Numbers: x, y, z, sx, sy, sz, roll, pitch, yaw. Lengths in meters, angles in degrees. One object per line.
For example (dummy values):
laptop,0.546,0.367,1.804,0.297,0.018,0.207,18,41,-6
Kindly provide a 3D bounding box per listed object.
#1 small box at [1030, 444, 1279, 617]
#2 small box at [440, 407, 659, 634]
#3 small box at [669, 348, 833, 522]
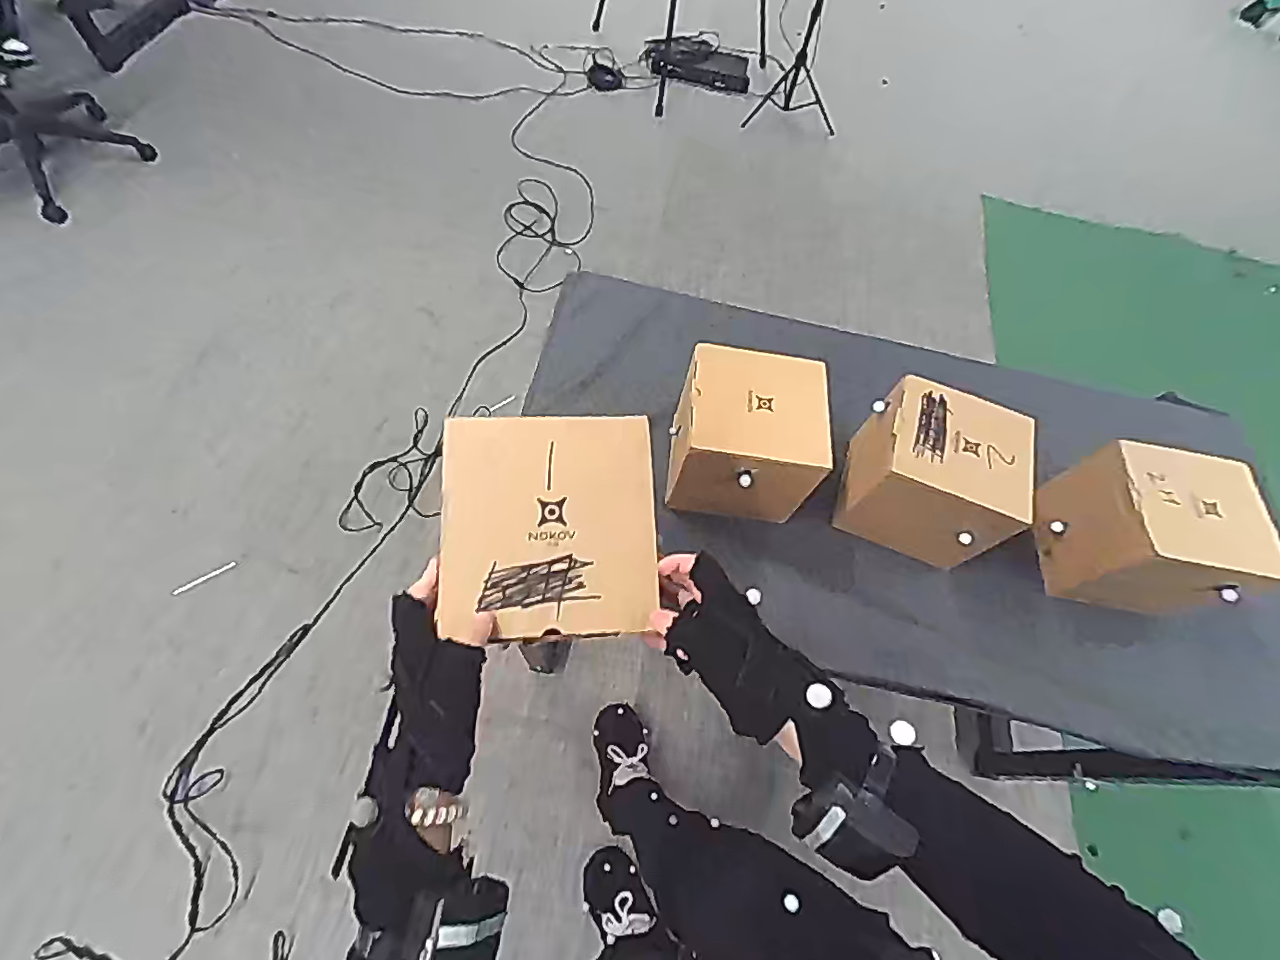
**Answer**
small box,0.681,0.077,0.731,0.179,0.176,0.168,11,61,0
small box,-0.077,0.044,0.497,0.168,0.176,0.179,-1,76,-8
small box,0.144,-0.053,0.744,0.179,0.176,0.168,8,61,-2
